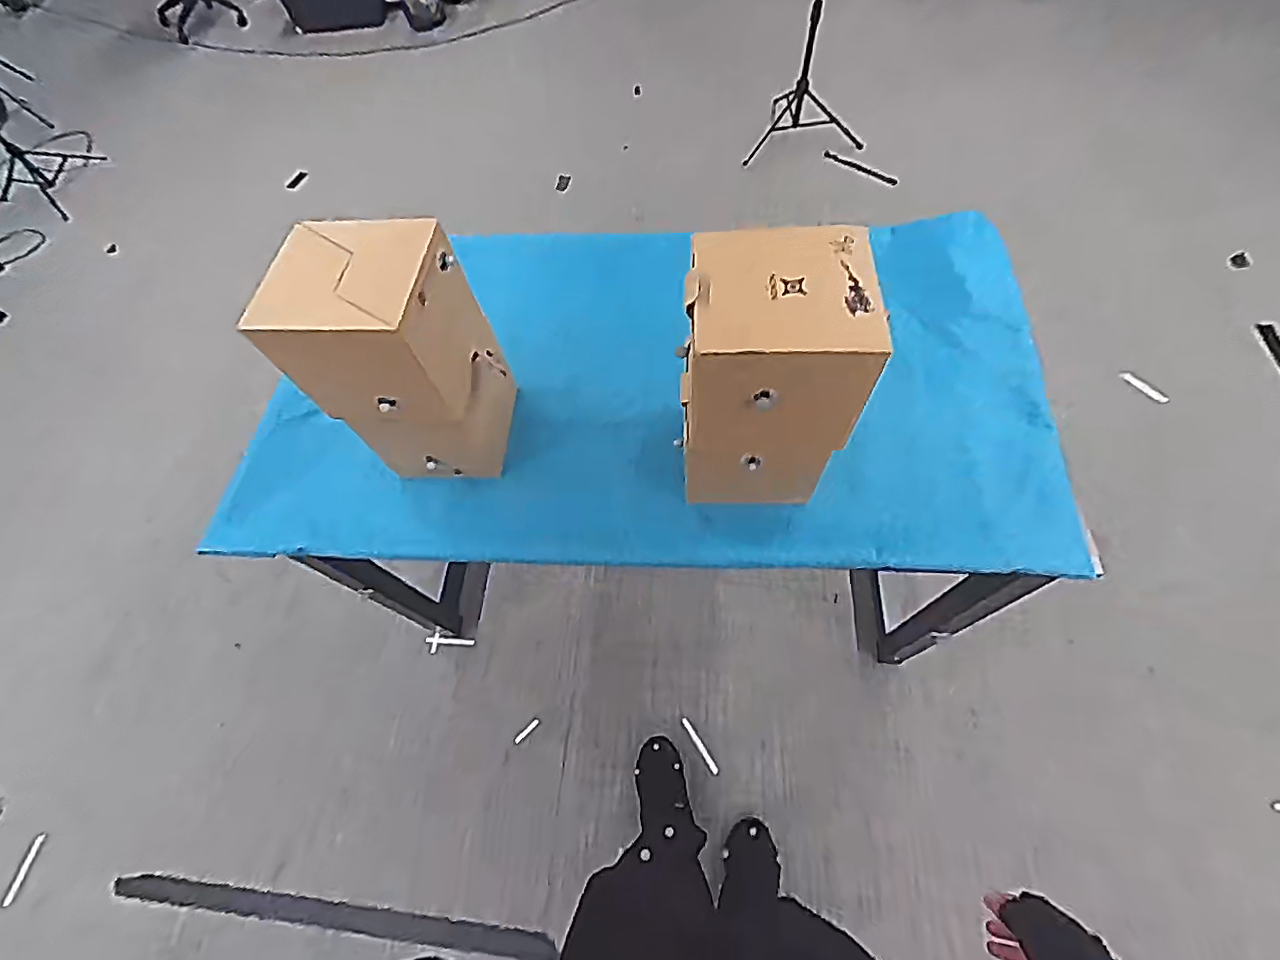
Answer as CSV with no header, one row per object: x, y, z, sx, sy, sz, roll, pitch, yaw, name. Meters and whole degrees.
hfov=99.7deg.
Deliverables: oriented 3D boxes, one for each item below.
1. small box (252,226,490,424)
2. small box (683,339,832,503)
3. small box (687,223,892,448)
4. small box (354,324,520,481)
-0.305,-0.181,0.649,0.179,0.176,0.168,2,63,7,small box
0.152,-0.076,0.730,0.179,0.176,0.168,1,63,7,small box
0.143,-0.145,0.583,0.179,0.176,0.168,-2,62,4,small box
-0.291,-0.116,0.802,0.168,0.176,0.179,2,65,9,small box
